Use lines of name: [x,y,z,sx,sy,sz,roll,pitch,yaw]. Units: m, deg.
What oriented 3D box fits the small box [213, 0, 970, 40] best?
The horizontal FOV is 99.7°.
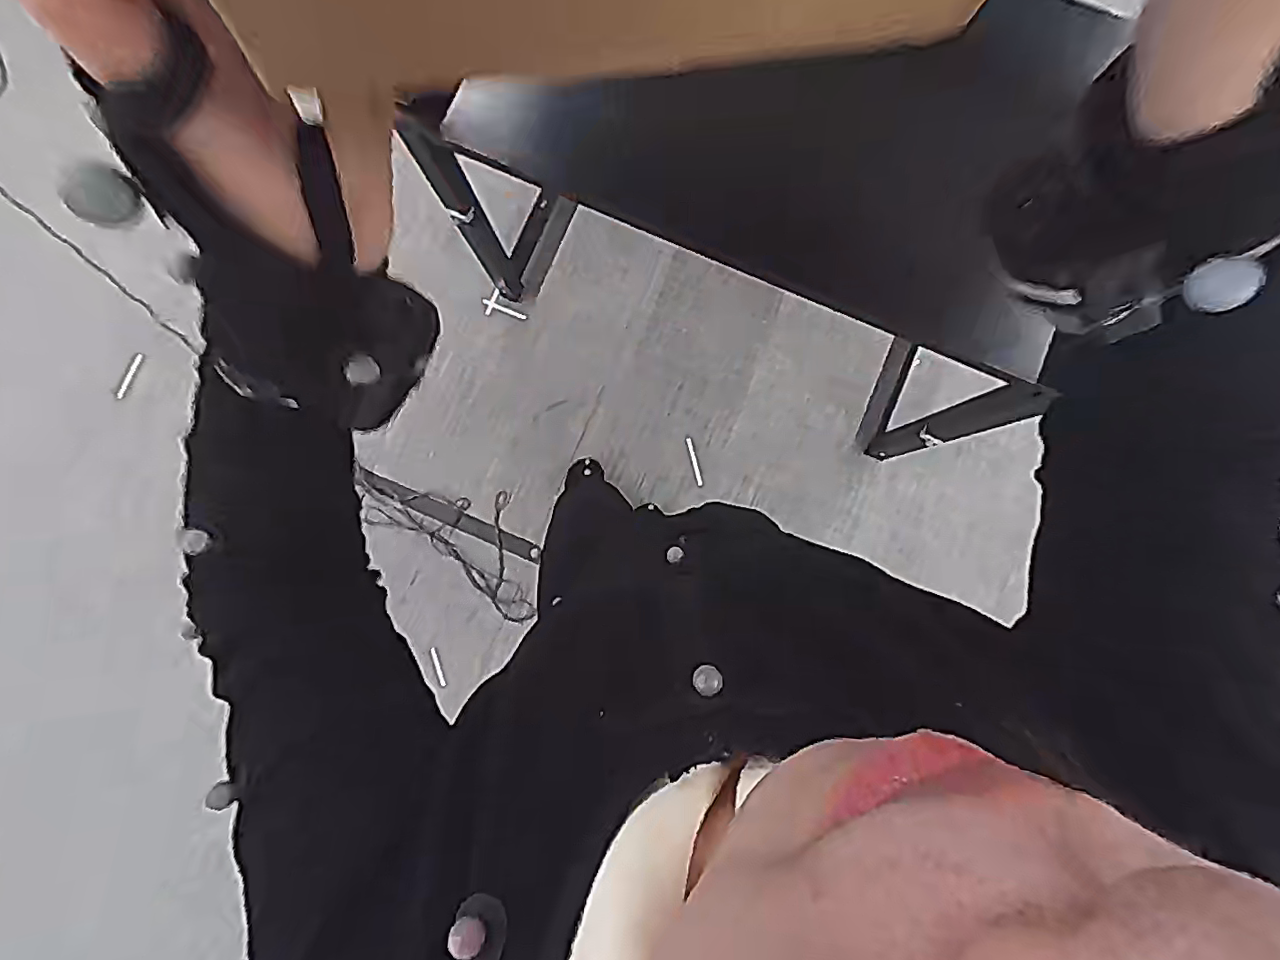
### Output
small box: [-0.004,-0.196,0.053,0.179,0.168,0.176,-11,82,-8]
